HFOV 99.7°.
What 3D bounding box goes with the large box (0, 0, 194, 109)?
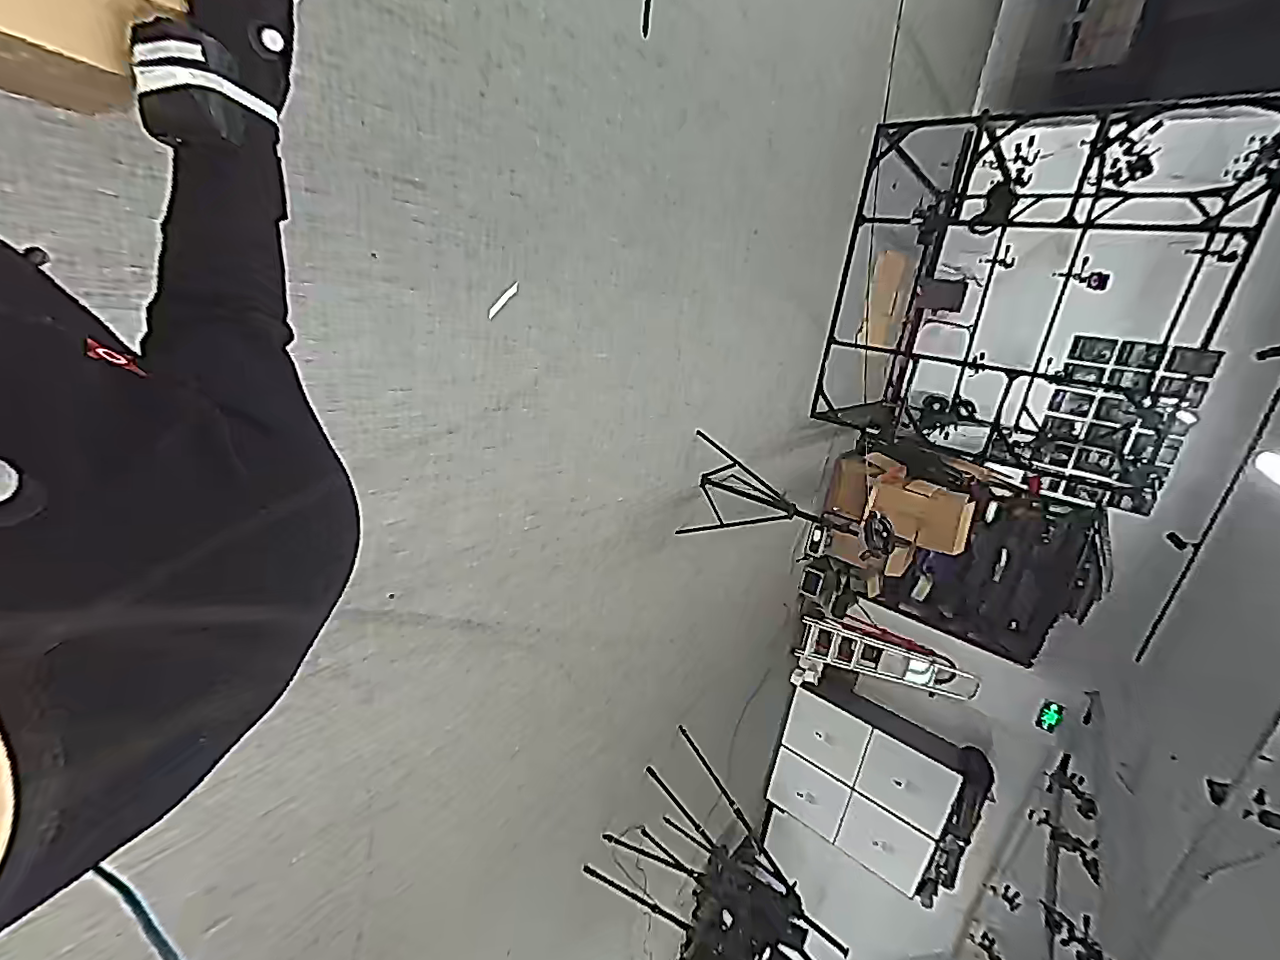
[{"bbox_3d":[-0.533,-0.451,0.276,0.408,0.320,0.320,-10,117,-54],"label":"large box"}]
